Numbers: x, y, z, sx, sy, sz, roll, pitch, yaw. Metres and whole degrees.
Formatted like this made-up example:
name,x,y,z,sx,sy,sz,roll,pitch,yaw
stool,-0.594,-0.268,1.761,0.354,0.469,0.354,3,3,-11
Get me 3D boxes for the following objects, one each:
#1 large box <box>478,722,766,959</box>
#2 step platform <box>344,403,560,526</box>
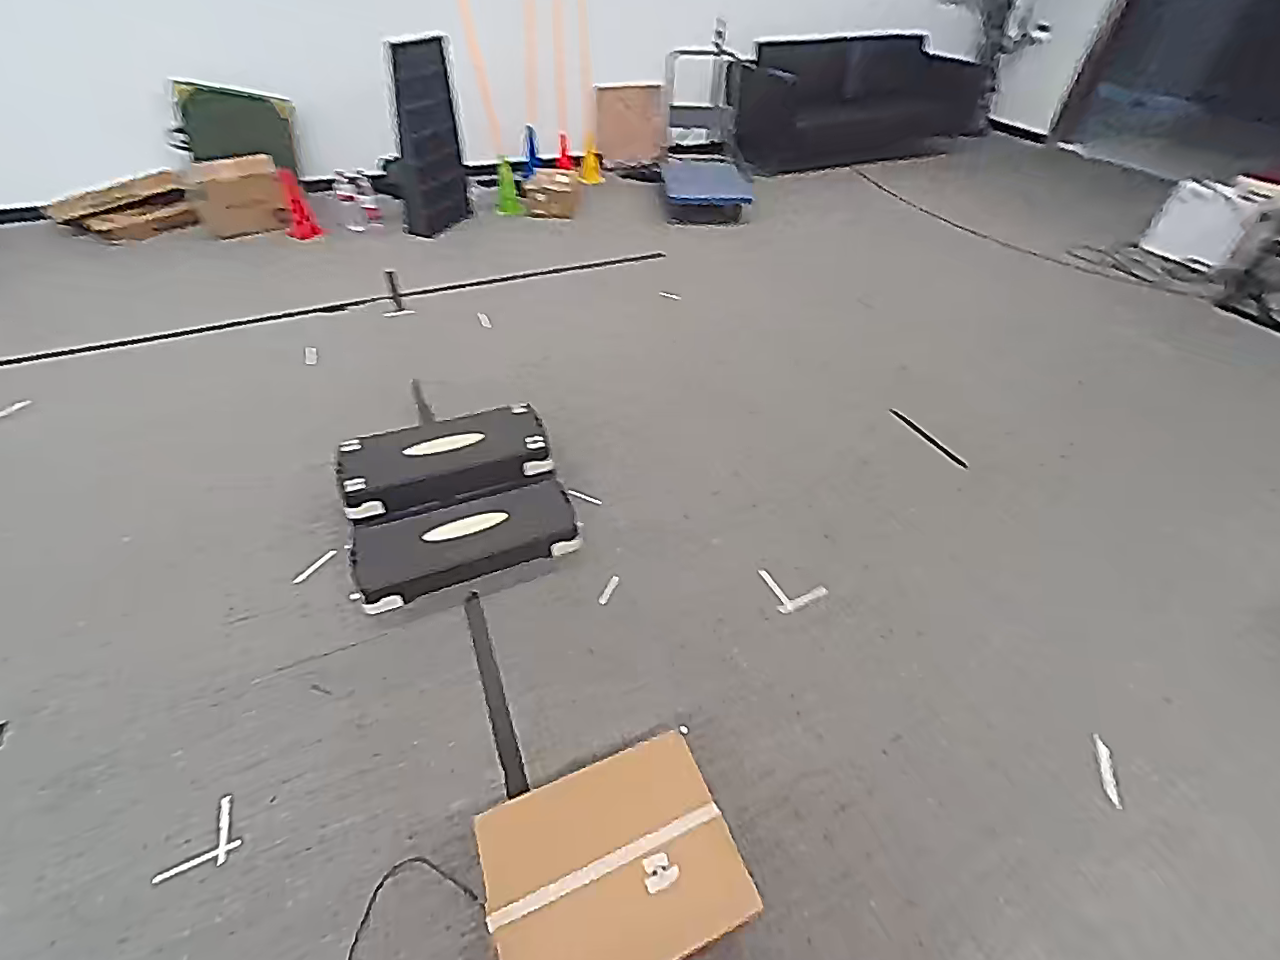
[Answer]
name,x,y,z,sx,sy,sz,roll,pitch,yaw
large box,-0.044,0.727,0.989,0.408,0.320,0.320,-15,47,-19
step platform,-0.627,-0.069,1.850,0.684,0.204,0.286,-11,46,-15
